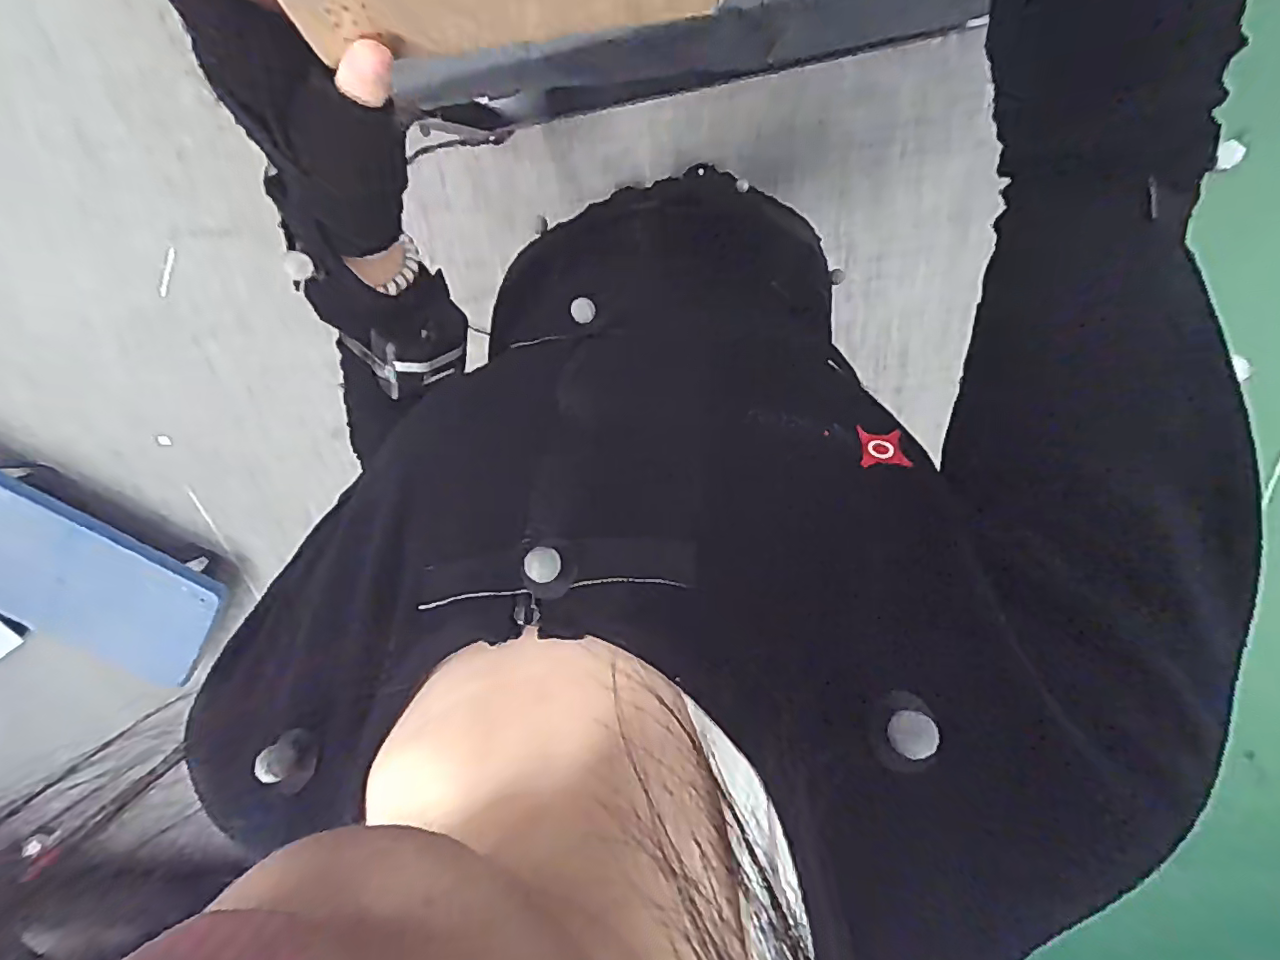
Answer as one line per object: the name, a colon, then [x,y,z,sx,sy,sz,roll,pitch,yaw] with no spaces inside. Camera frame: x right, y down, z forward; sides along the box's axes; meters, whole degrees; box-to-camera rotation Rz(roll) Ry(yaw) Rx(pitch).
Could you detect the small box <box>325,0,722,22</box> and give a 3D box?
small box: [-0.054,-0.266,0.138,0.176,0.179,0.168,-9,90,-2]
